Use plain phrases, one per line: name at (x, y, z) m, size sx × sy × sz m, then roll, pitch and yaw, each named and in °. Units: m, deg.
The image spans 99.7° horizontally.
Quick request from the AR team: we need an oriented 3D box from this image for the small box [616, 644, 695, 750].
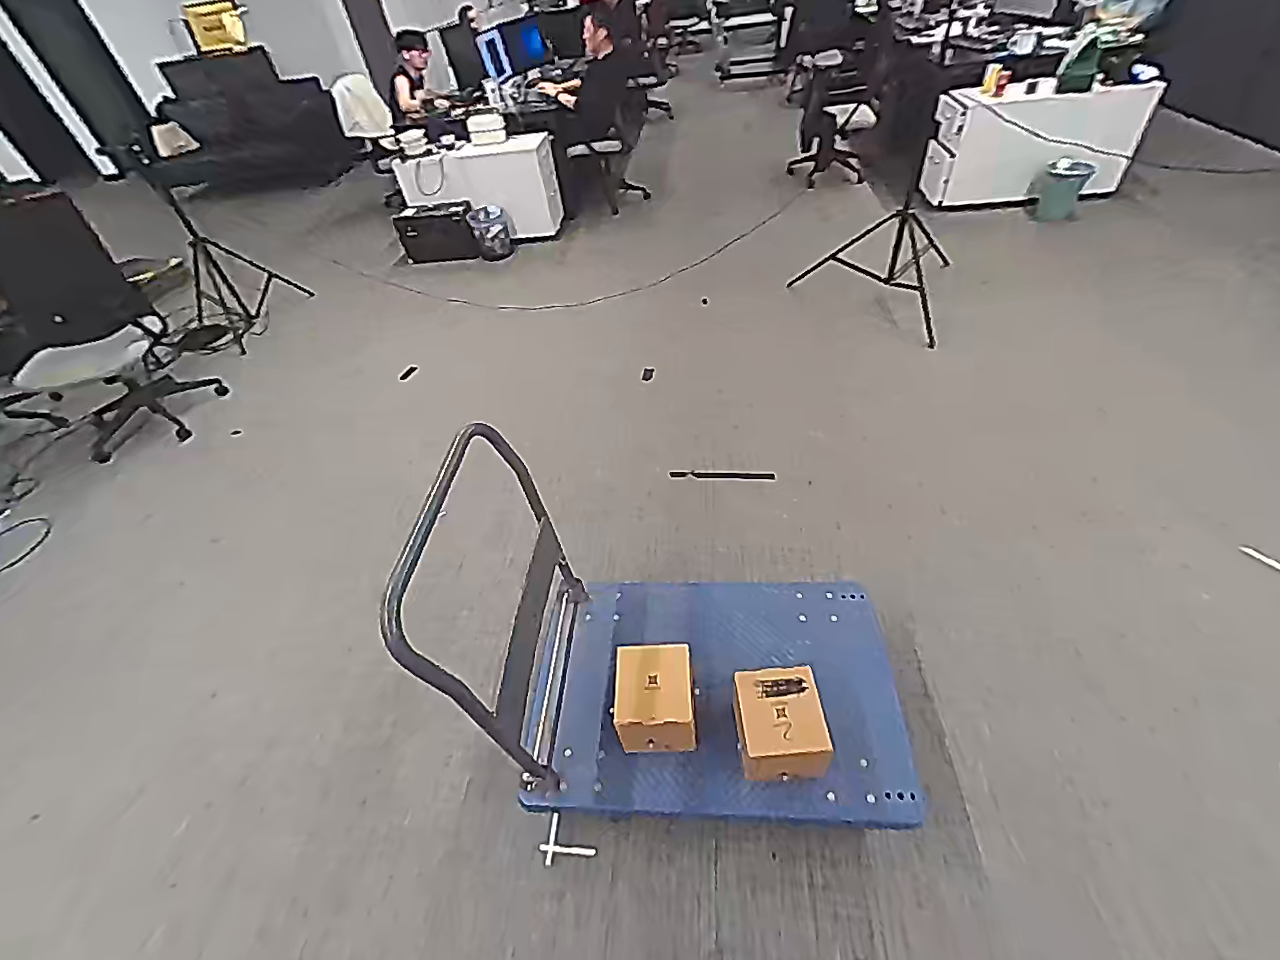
small box at (0.039, 0.495, 1.231) m, size 0.168 × 0.176 × 0.179 m, roll -4°, pitch 46°, yaw 5°
